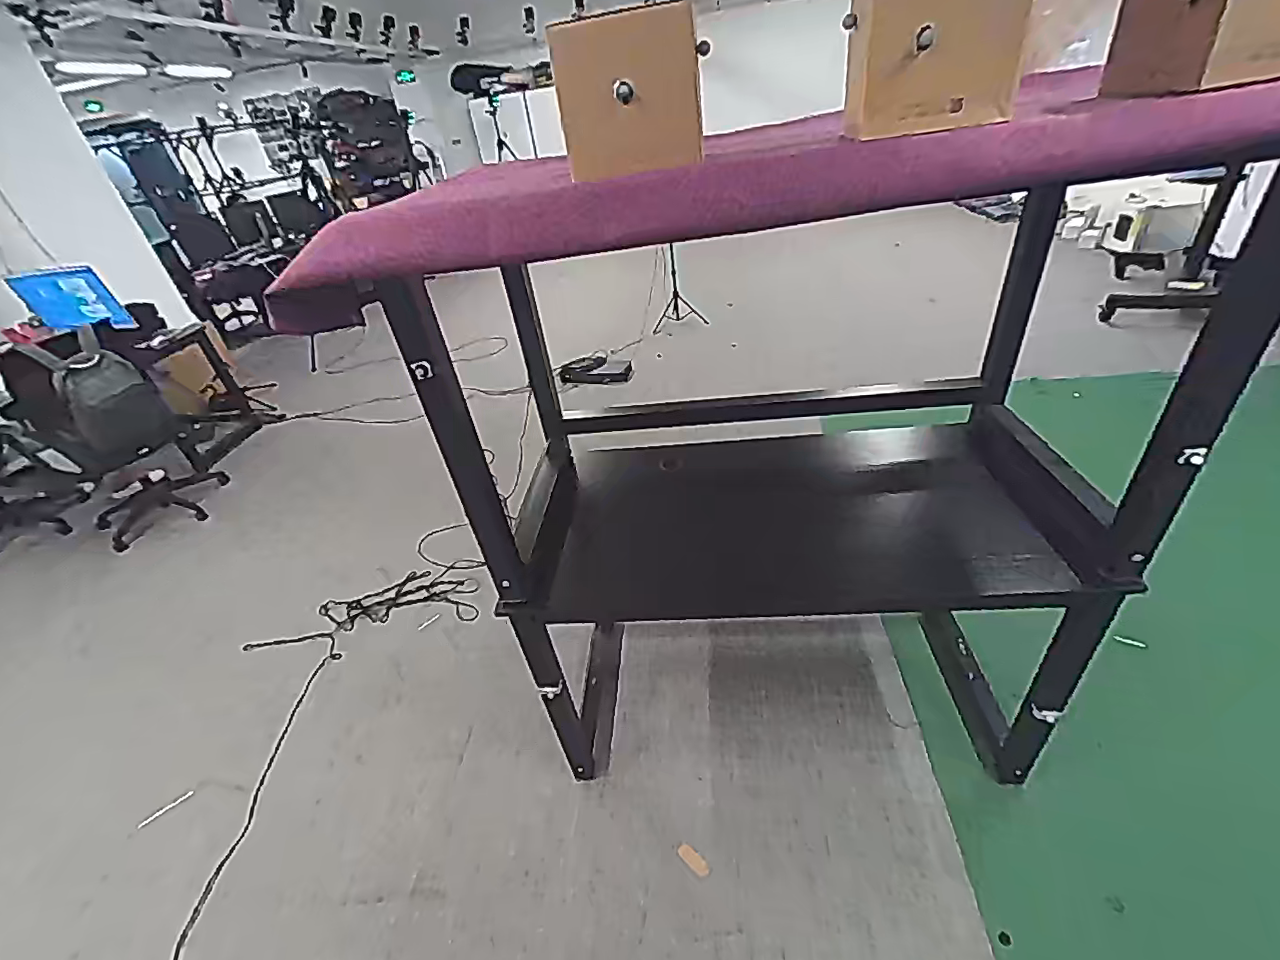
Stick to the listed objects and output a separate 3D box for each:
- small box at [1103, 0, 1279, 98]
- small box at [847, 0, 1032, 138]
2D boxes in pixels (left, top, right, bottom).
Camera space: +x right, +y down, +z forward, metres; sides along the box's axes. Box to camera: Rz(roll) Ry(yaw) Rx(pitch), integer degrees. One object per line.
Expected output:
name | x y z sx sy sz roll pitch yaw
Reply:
small box | 0.691 -0.554 0.616 0.168 0.176 0.179 -4 32 7
small box | 0.353 -0.527 0.658 0.168 0.176 0.179 0 34 12
